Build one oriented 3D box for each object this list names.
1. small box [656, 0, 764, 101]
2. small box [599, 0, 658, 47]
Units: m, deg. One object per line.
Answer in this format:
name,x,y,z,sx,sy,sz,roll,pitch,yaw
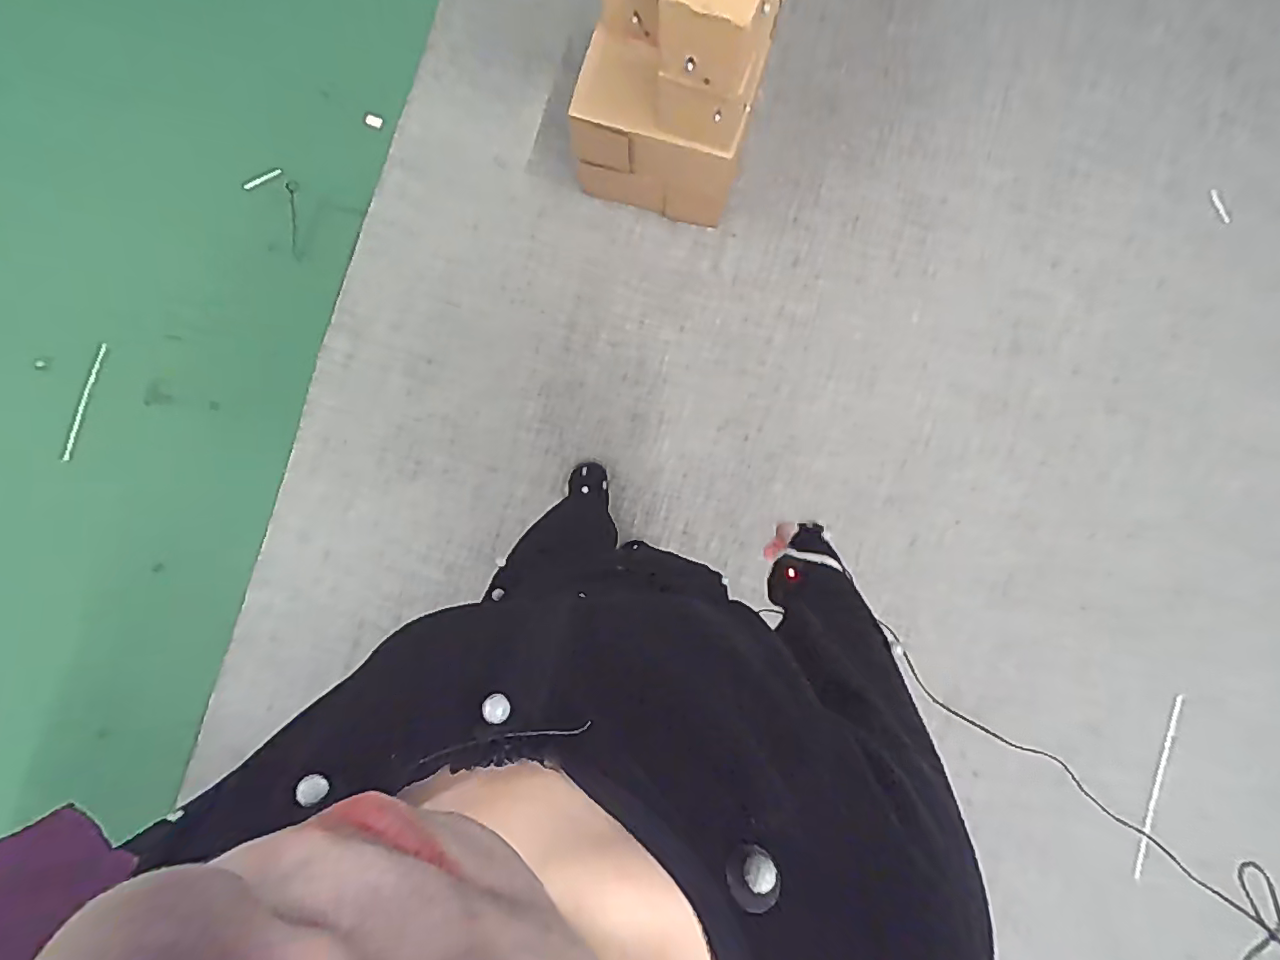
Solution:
small box,0.131,-0.861,0.998,0.168,0.176,0.179,21,87,2
small box,0.006,-1.118,1.188,0.168,0.176,0.179,17,84,4
